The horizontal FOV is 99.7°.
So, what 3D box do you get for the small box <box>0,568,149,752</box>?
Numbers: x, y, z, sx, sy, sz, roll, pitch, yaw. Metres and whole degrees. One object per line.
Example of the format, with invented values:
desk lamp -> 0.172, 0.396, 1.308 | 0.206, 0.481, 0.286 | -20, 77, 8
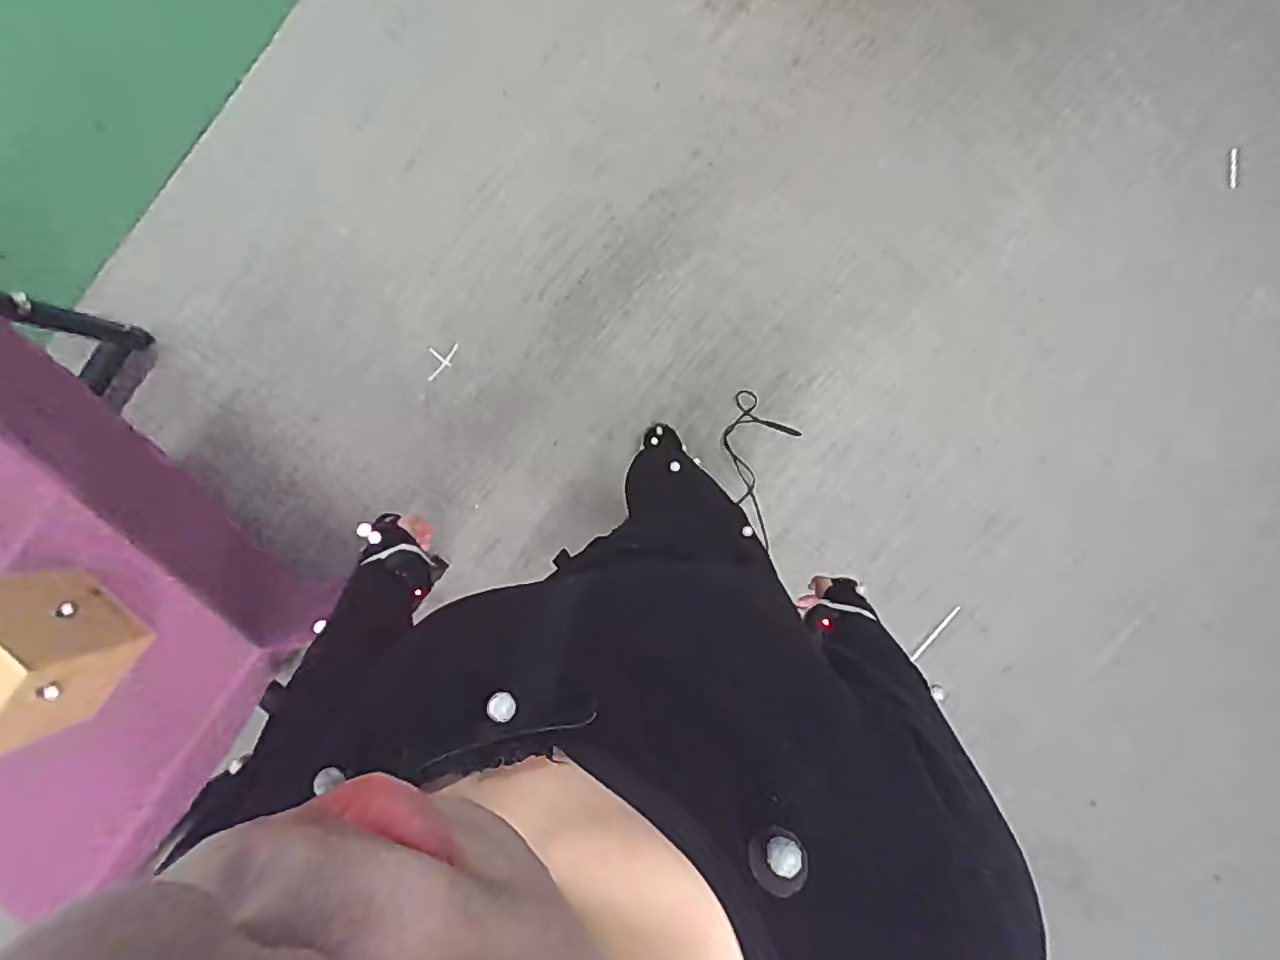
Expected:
small box -> -0.860, 0.247, 0.761 | 0.168, 0.176, 0.179 | 40, 94, 3
